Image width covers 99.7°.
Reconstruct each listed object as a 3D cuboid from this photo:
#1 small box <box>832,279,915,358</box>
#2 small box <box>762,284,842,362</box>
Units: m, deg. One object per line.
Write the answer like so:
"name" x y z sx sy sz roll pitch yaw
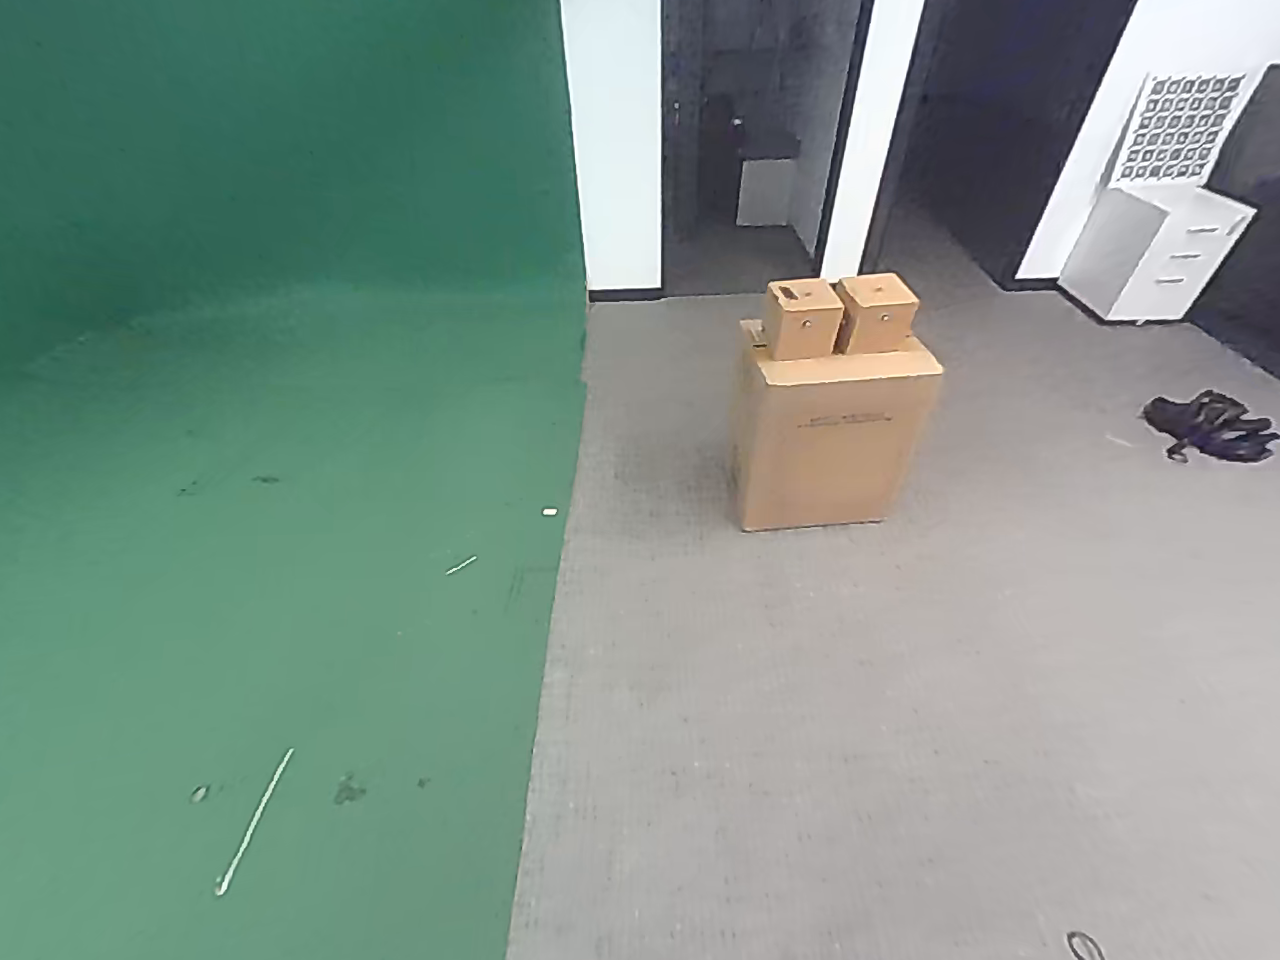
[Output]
"small box" 0.687 -0.485 1.634 0.179 0.176 0.168 -5 49 -6
"small box" 0.474 -0.466 1.619 0.179 0.176 0.168 -5 48 -4
